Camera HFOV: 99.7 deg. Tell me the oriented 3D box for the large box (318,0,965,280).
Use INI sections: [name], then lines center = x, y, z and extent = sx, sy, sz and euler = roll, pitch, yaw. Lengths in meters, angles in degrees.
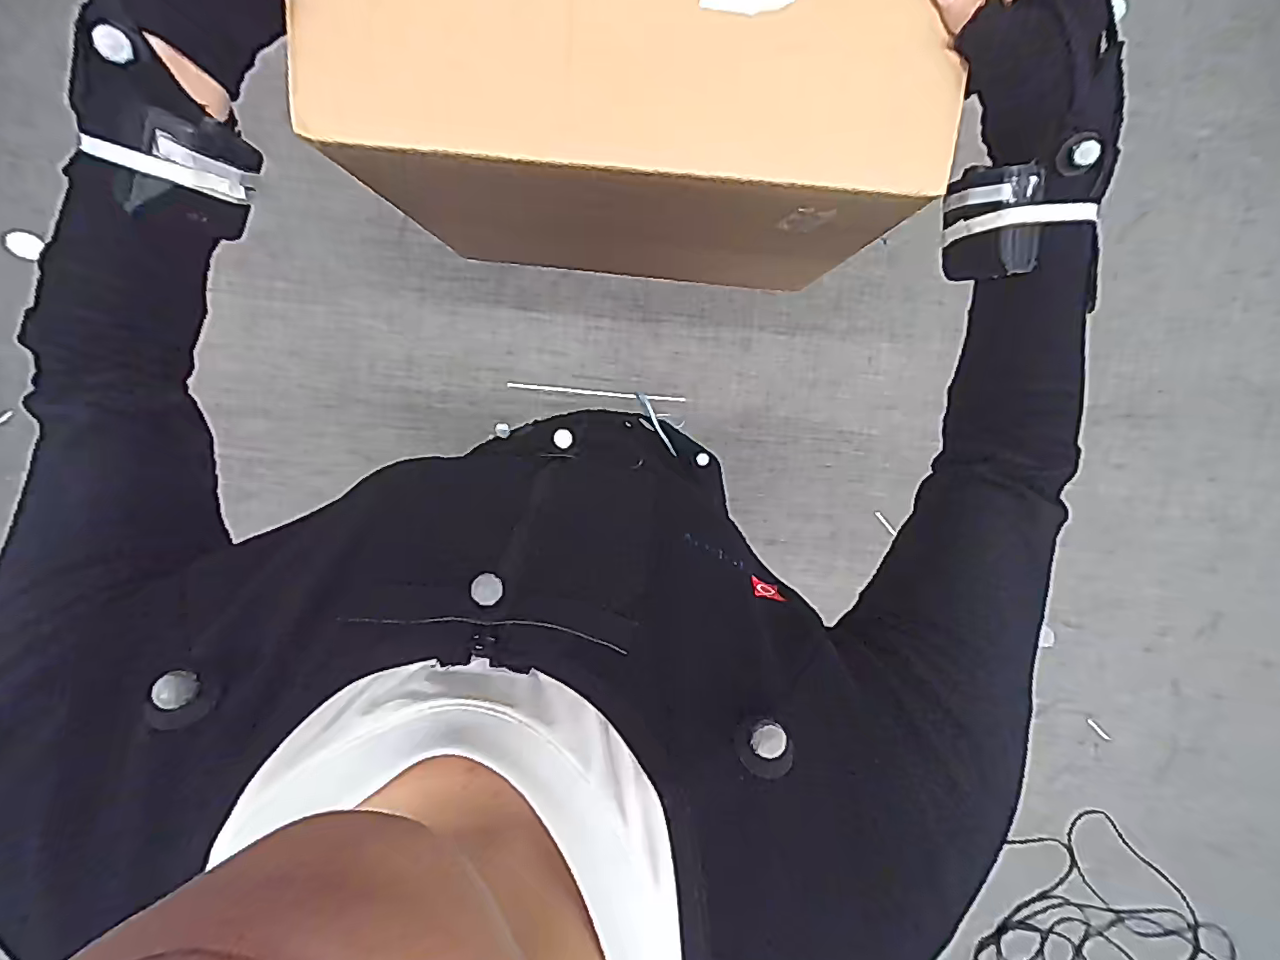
[large box]
center = 0.005, -0.376, 0.470
extent = 0.408, 0.320, 0.320
euler = 5, 100, 0
